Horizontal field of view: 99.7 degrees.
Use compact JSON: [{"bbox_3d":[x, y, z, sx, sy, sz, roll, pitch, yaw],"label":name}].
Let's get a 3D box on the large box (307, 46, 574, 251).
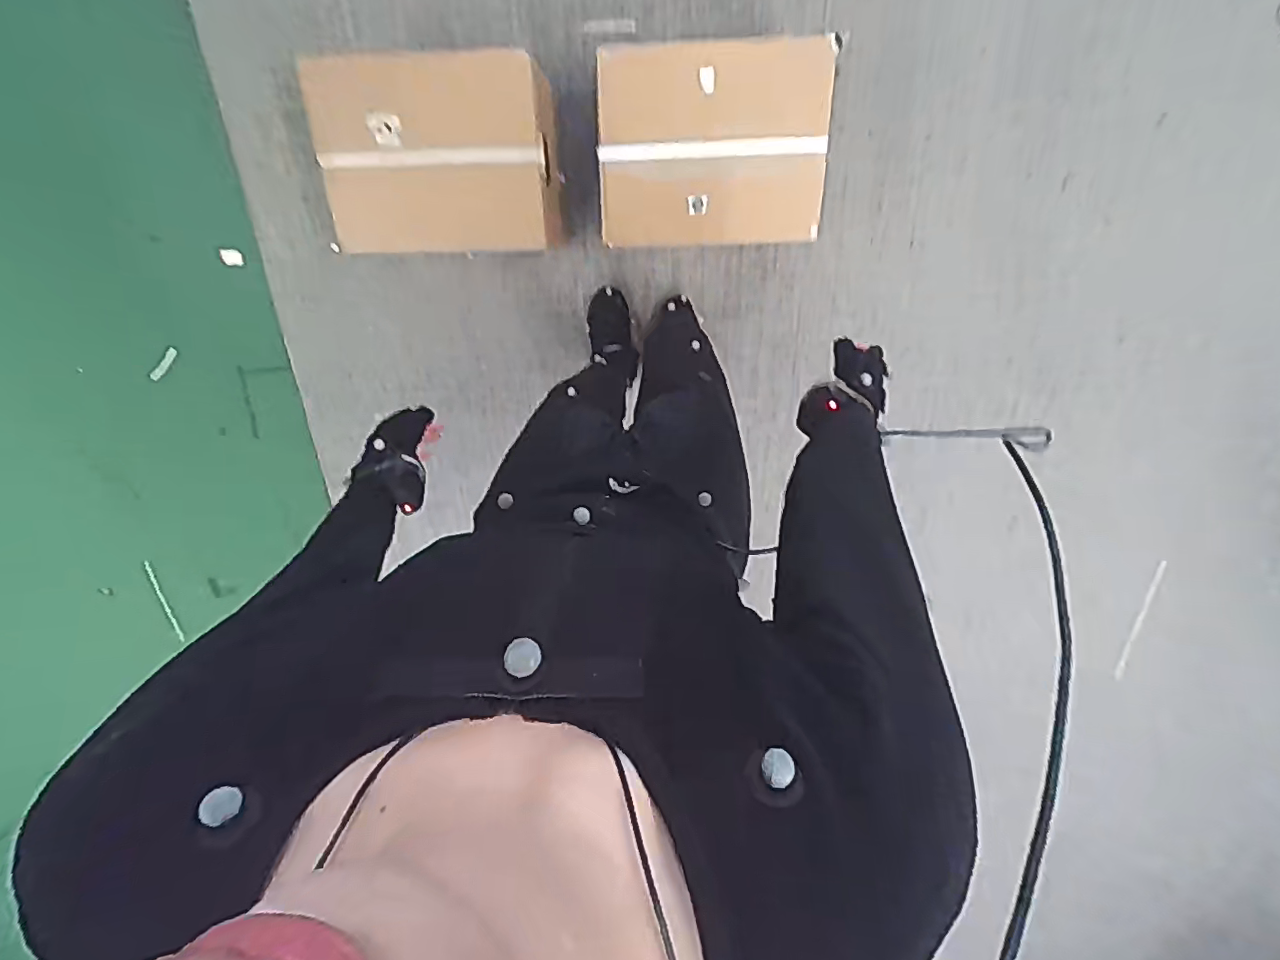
[{"bbox_3d":[-0.366,-0.650,1.113,0.408,0.320,0.320,0,114,2],"label":"large box"}]
